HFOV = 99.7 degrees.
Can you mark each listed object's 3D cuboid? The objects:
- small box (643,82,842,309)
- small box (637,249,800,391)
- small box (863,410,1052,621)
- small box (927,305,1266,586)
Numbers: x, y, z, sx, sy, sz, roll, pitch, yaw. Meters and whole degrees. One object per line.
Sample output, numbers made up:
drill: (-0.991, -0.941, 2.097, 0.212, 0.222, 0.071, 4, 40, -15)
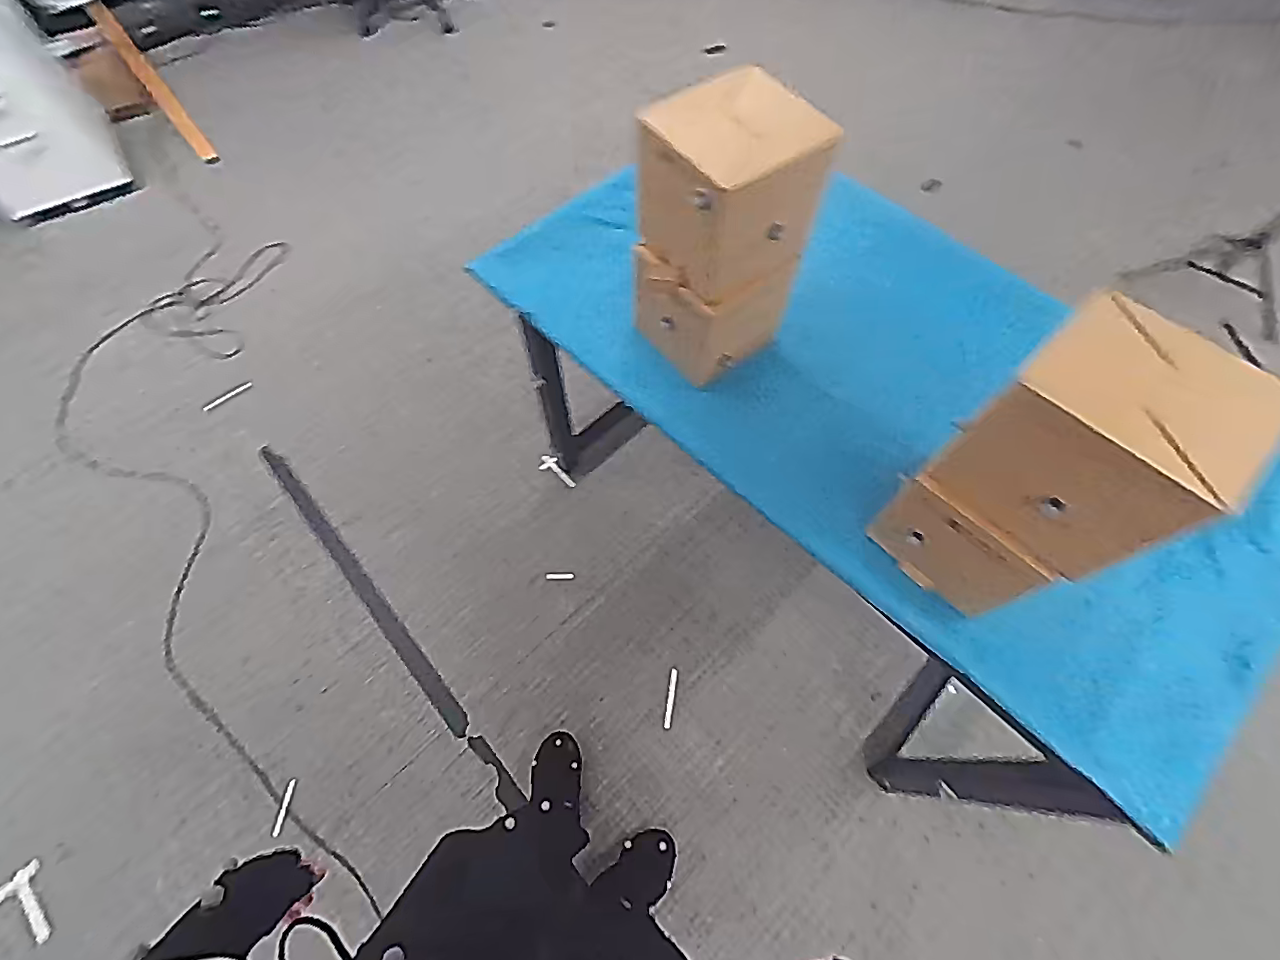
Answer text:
small box: (0.118, -0.361, 0.686, 0.179, 0.176, 0.168, -32, 69, -14)
small box: (0.112, -0.277, 0.828, 0.179, 0.176, 0.168, -35, 70, -16)
small box: (0.423, 0.041, 0.677, 0.179, 0.176, 0.168, -40, 71, -19)
small box: (0.436, -0.032, 0.531, 0.168, 0.176, 0.179, -38, 67, -20)
